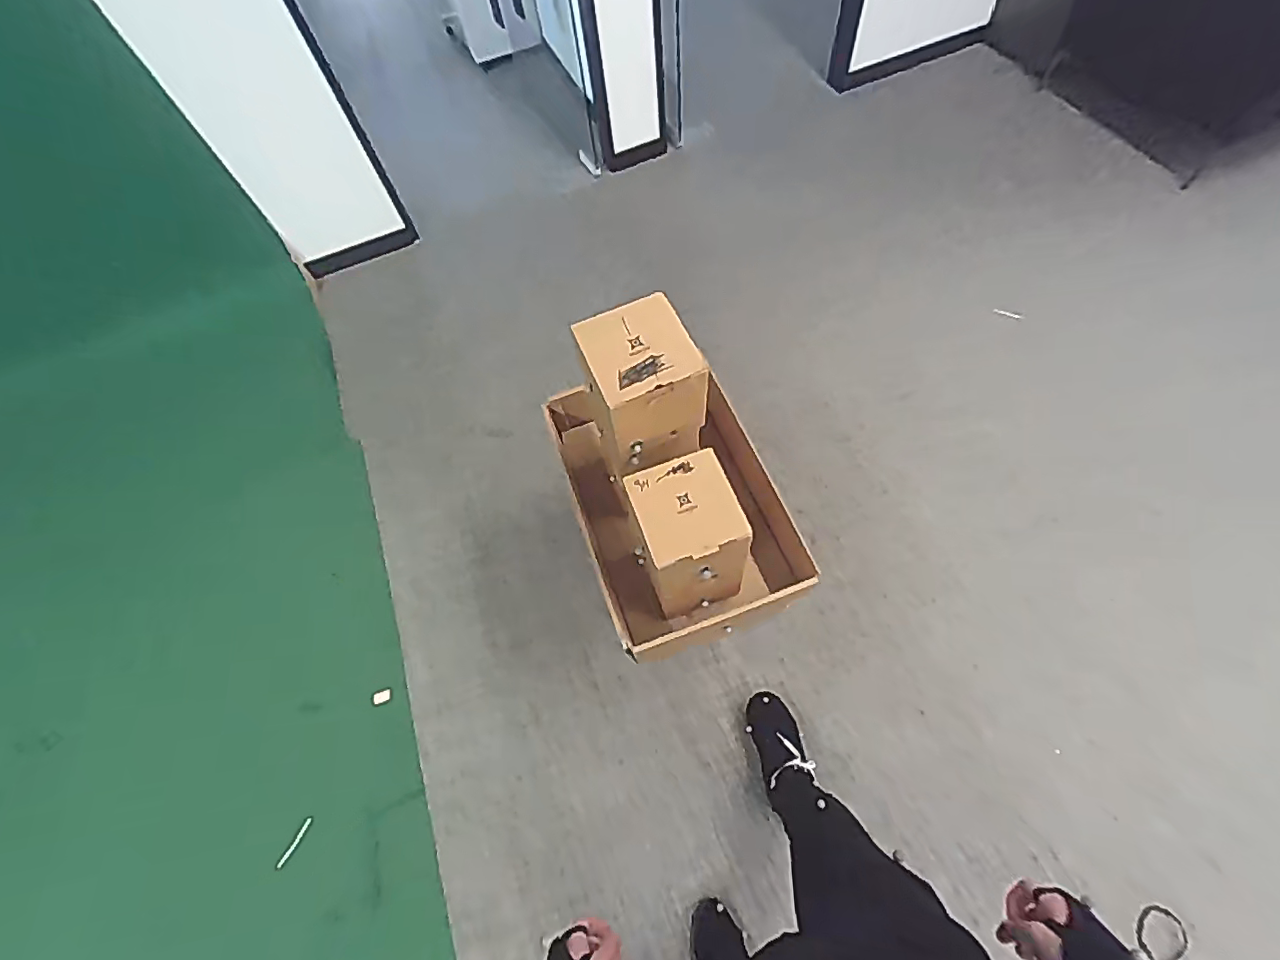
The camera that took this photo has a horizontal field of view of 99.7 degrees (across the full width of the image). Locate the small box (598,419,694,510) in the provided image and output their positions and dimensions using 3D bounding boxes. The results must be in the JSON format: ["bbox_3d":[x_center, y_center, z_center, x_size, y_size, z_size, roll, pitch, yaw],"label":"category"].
[{"bbox_3d":[0.017,-0.052,1.218,0.168,0.176,0.179,-21,65,-5],"label":"small box"}]

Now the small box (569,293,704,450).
[{"bbox_3d":[-0.001,-0.171,0.911,0.168,0.176,0.179,-23,65,-6],"label":"small box"}]

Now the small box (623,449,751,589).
[{"bbox_3d":[0.082,0.079,0.952,0.168,0.176,0.179,-19,63,-4],"label":"small box"}]

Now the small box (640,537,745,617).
[{"bbox_3d":[0.100,0.153,1.095,0.168,0.176,0.179,-20,61,-3],"label":"small box"}]
